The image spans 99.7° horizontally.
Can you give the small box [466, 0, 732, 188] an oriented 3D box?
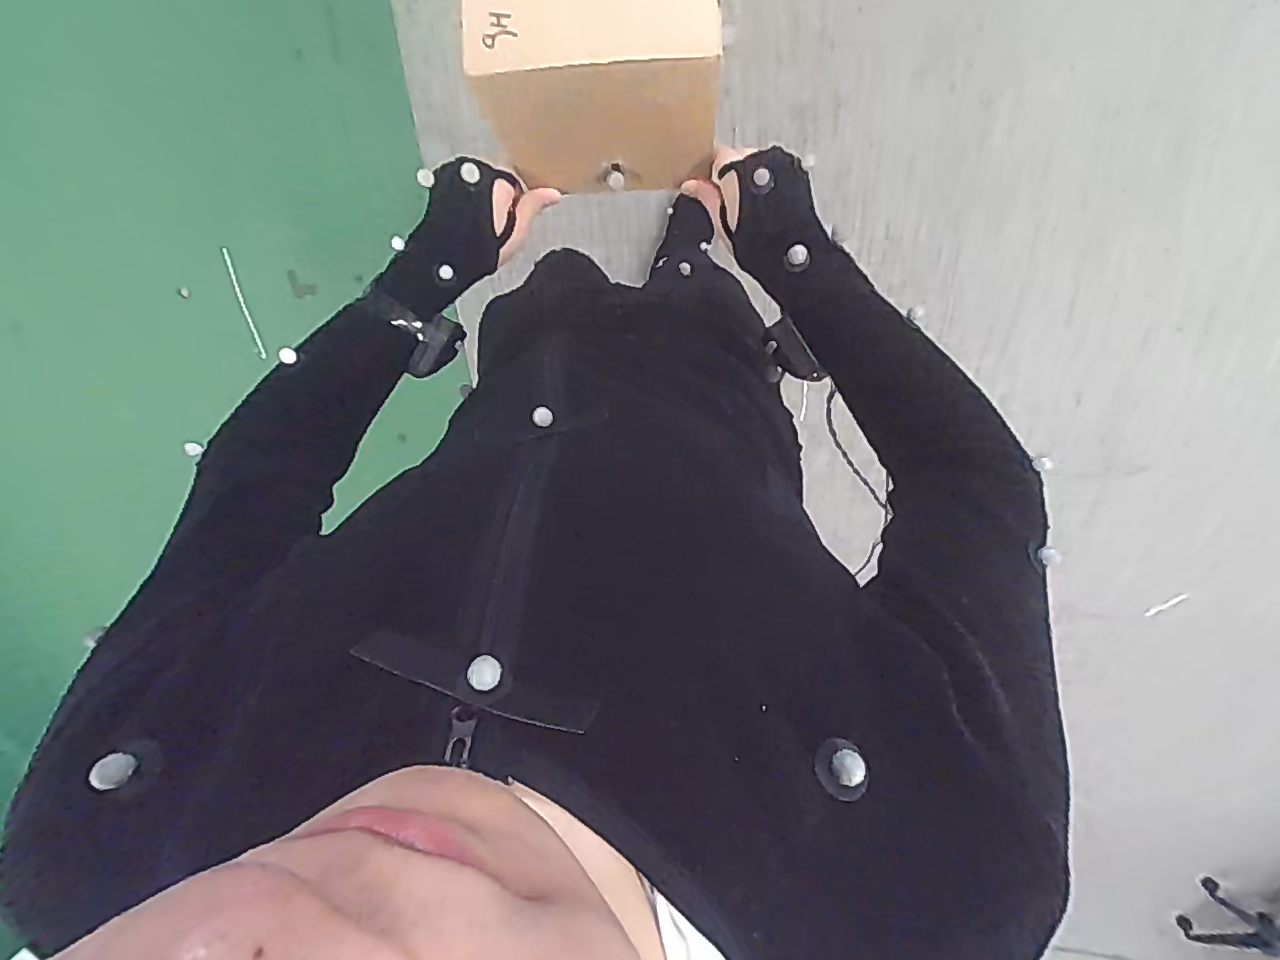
[{"bbox_3d":[-0.024,-0.358,0.431,0.179,0.176,0.168,-1,91,4],"label":"small box"}]
